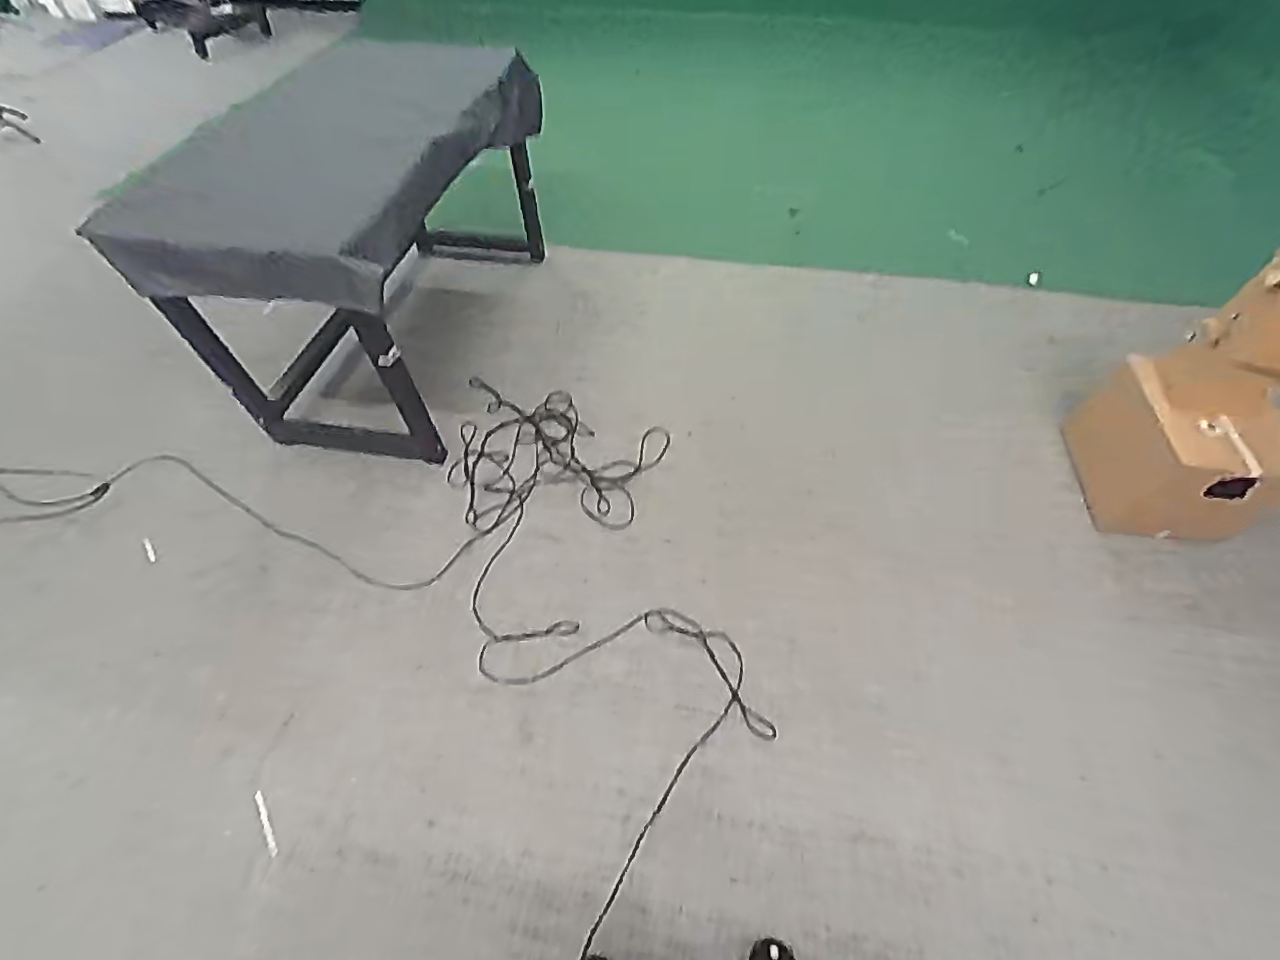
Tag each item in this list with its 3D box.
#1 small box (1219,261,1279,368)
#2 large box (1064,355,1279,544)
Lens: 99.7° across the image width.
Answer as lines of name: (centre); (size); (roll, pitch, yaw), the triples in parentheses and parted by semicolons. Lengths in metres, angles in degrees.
small box: (1.461, -0.361, 1.195); (0.179, 0.176, 0.168); (19, 58, 14)
large box: (1.478, -0.084, 1.496); (0.320, 0.320, 0.408); (6, 56, 7)
